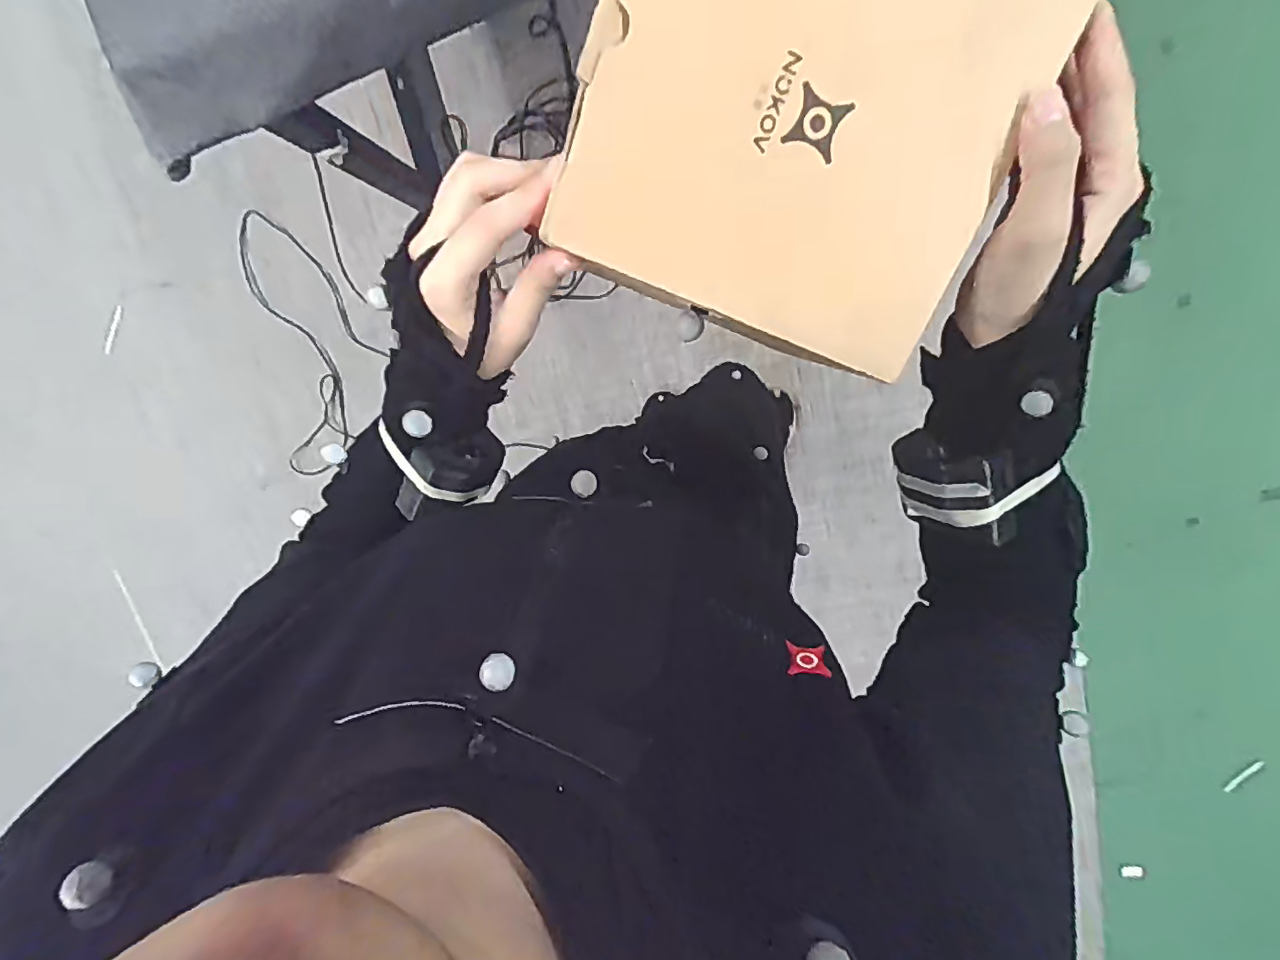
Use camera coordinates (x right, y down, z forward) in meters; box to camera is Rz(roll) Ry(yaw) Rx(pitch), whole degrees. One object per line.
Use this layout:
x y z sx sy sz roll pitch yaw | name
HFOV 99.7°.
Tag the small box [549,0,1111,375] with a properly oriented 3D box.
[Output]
0.069 -0.174 0.289 0.179 0.176 0.168 20 107 -8 | small box
